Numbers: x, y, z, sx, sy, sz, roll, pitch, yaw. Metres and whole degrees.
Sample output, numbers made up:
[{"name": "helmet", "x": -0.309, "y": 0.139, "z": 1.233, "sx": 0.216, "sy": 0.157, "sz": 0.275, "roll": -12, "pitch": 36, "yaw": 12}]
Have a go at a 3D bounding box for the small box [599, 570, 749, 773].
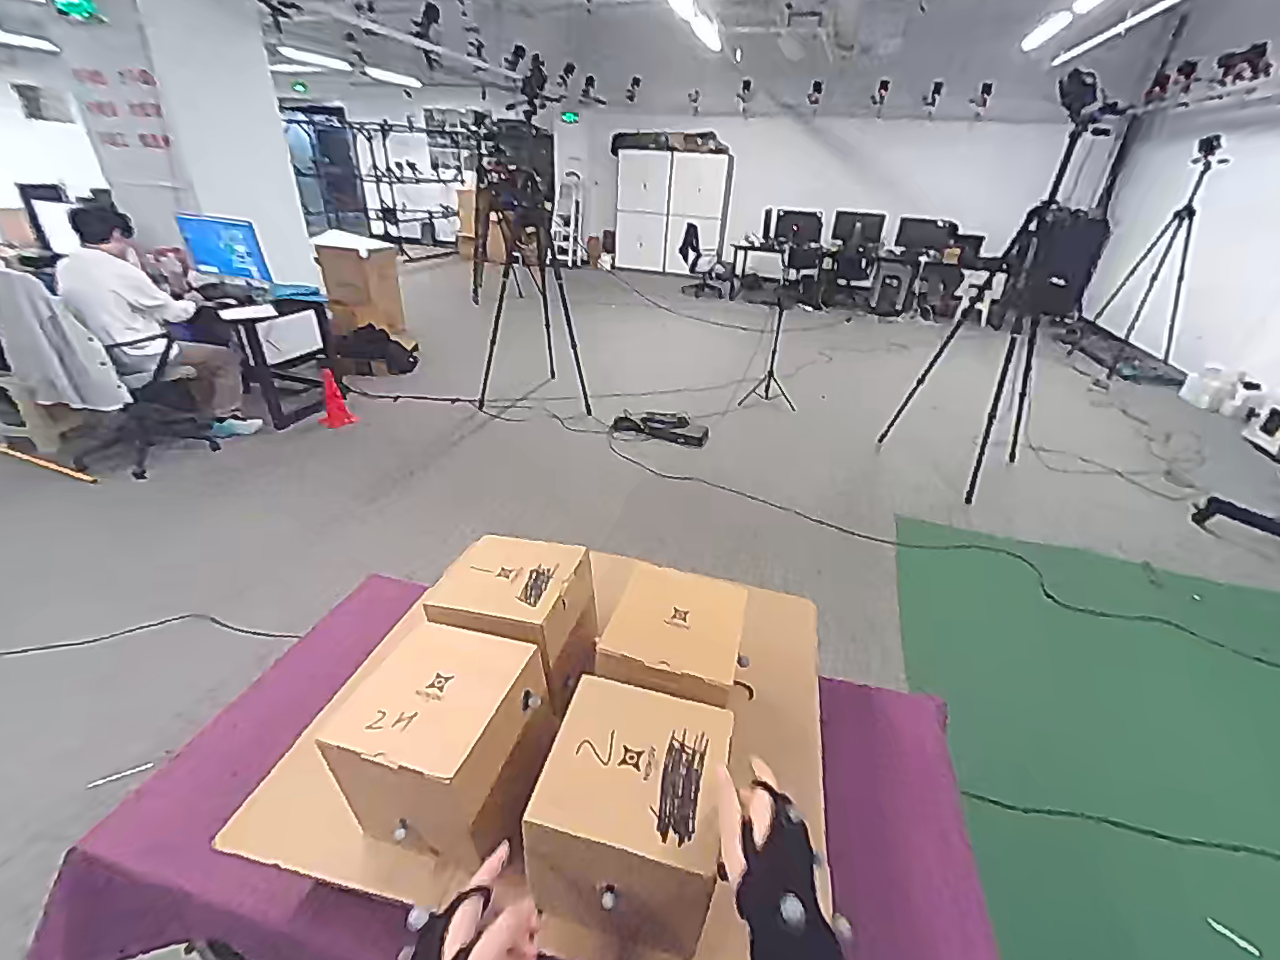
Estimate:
[{"name": "small box", "x": 0.045, "y": 0.257, "z": 0.745, "sx": 0.168, "sy": 0.176, "sz": 0.179, "roll": 12, "pitch": 32, "yaw": 12}]
